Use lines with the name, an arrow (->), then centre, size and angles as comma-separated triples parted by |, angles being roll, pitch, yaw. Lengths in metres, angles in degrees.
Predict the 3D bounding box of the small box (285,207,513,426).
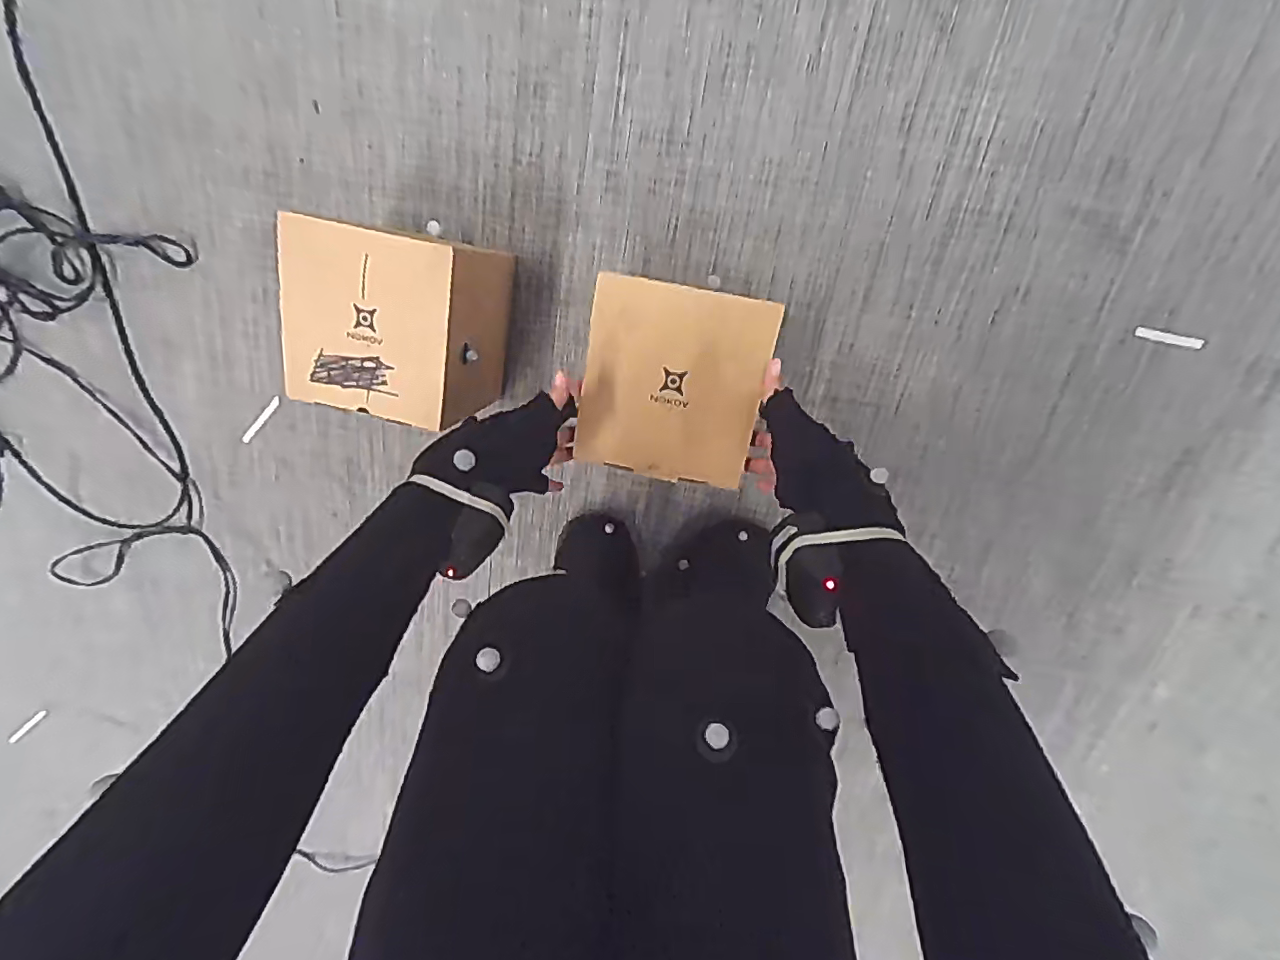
small box -> -0.250, -0.178, 0.591 | 0.168, 0.176, 0.179 | 13, 111, 2

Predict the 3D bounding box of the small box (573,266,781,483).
small box -> 0.034, -0.119, 0.575 | 0.168, 0.176, 0.179 | 11, 111, 0
